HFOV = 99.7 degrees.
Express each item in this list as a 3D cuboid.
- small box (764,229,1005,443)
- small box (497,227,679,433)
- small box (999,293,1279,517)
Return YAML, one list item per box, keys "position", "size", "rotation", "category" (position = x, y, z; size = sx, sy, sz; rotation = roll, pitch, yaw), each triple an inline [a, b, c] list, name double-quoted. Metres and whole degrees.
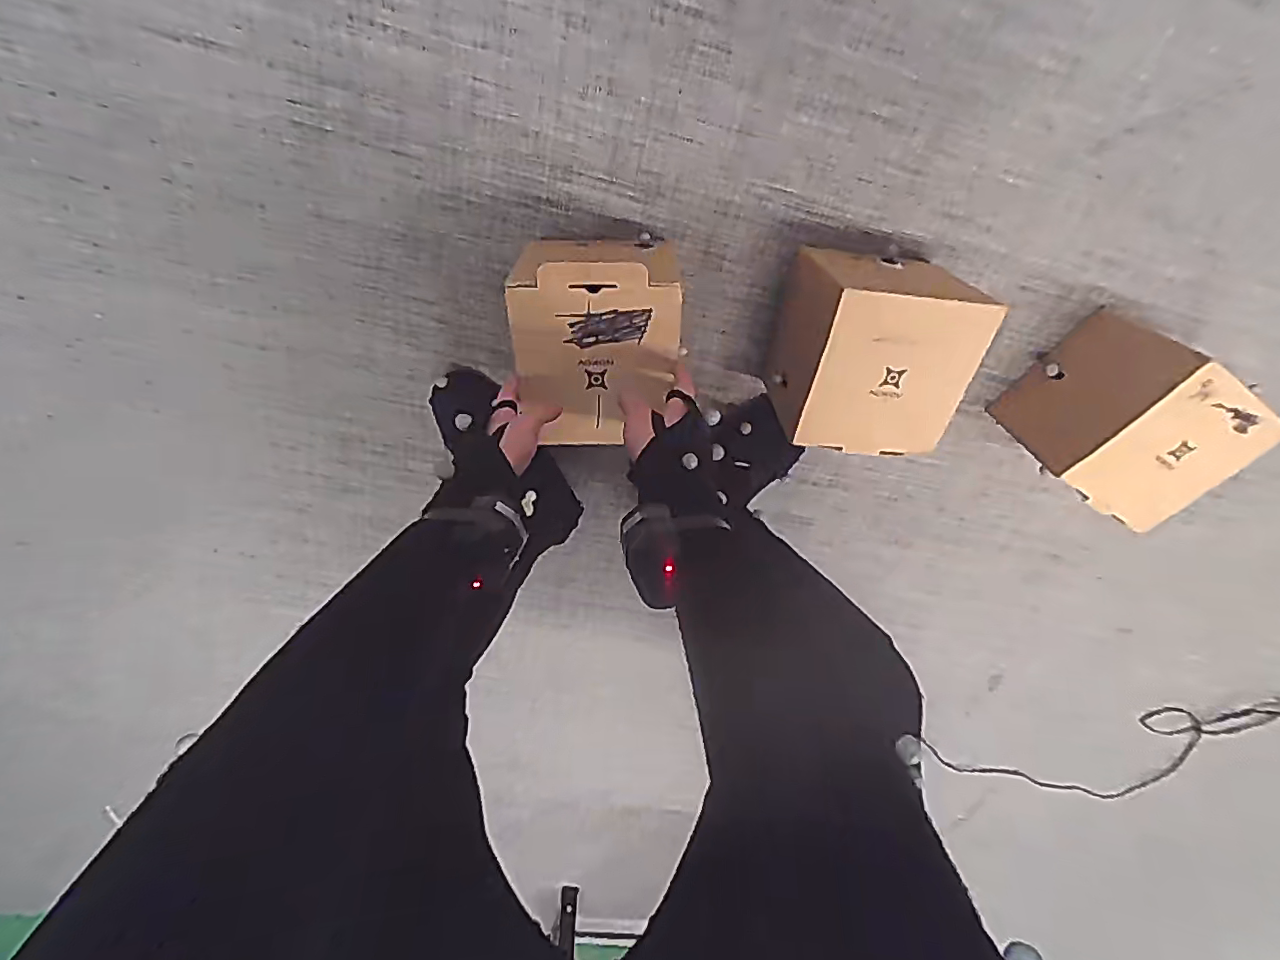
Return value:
- position: [0.248, -0.163, 0.607]
  size: [0.168, 0.176, 0.179]
  rotation: [4, 126, -5]
  category: "small box"
- position: [-0.049, -0.169, 0.593]
  size: [0.168, 0.176, 0.179]
  rotation: [0, 128, -1]
  category: "small box"
- position: [0.586, -0.093, 0.663]
  size: [0.168, 0.176, 0.179]
  rotation: [26, 123, -18]
  category: "small box"
